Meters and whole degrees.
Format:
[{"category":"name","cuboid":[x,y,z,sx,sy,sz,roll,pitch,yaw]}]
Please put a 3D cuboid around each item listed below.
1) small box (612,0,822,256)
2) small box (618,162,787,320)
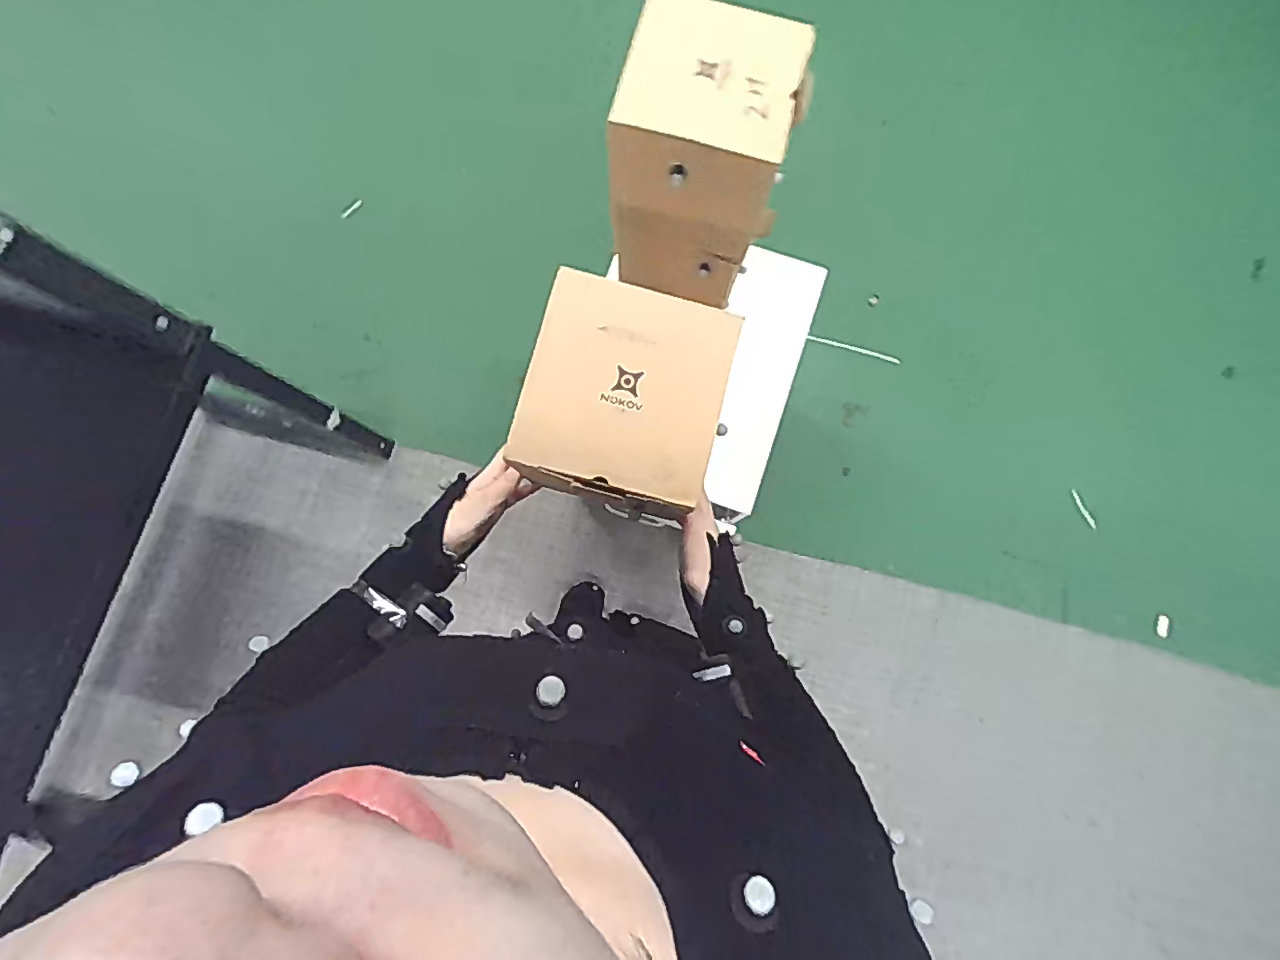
[{"category":"small box","cuboid":[0.076,-0.383,0.608,0.179,0.176,0.168,16,81,1]},{"category":"small box","cuboid":[0.079,-0.357,0.770,0.179,0.176,0.168,23,80,2]}]
